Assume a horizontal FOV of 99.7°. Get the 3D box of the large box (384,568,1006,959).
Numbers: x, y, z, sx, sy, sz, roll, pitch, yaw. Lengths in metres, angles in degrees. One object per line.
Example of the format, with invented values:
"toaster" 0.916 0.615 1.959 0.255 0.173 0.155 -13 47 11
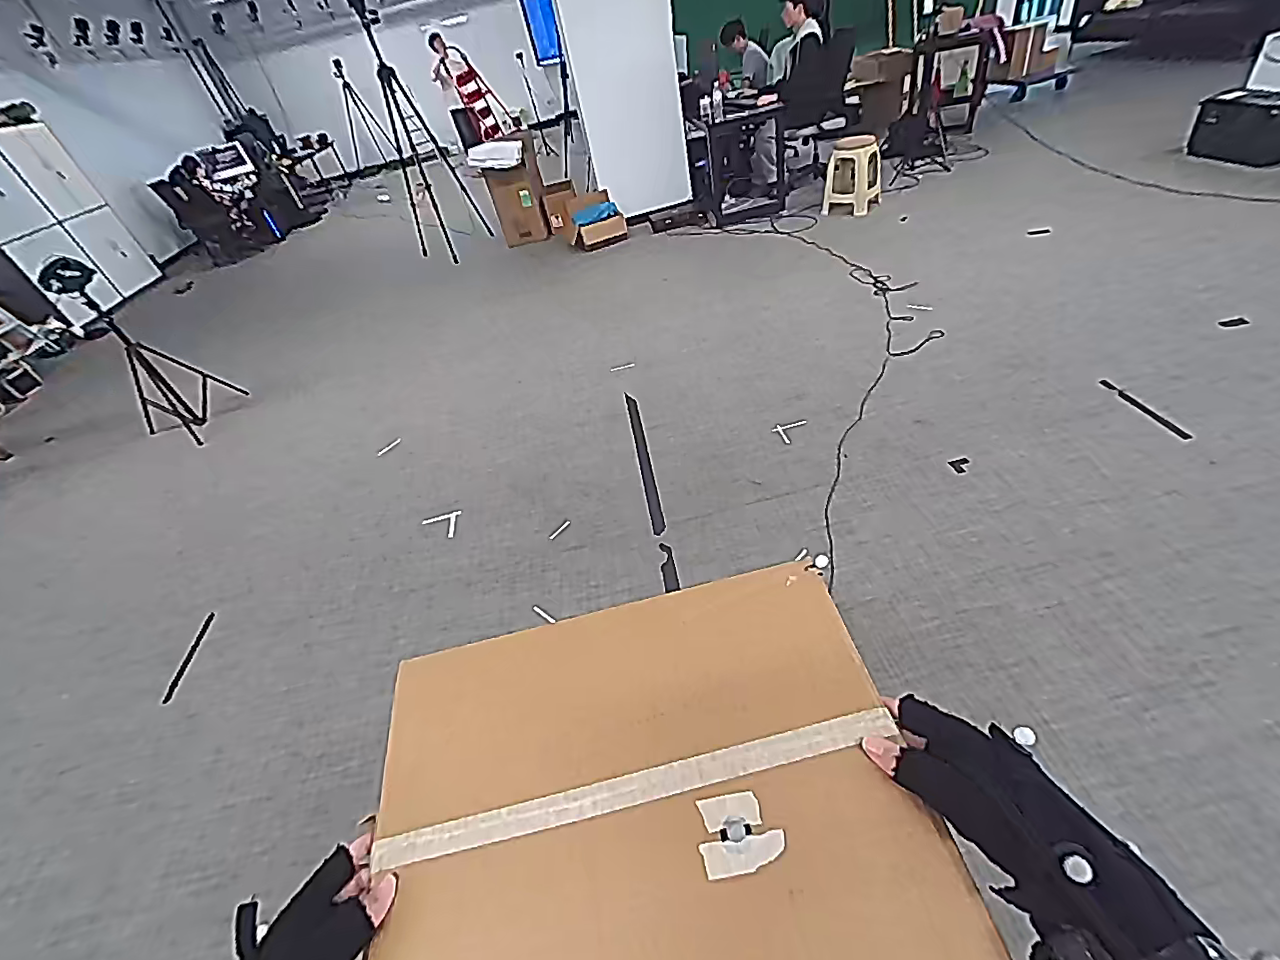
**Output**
"large box" 0.025 0.342 0.528 0.408 0.320 0.320 -14 47 -1
